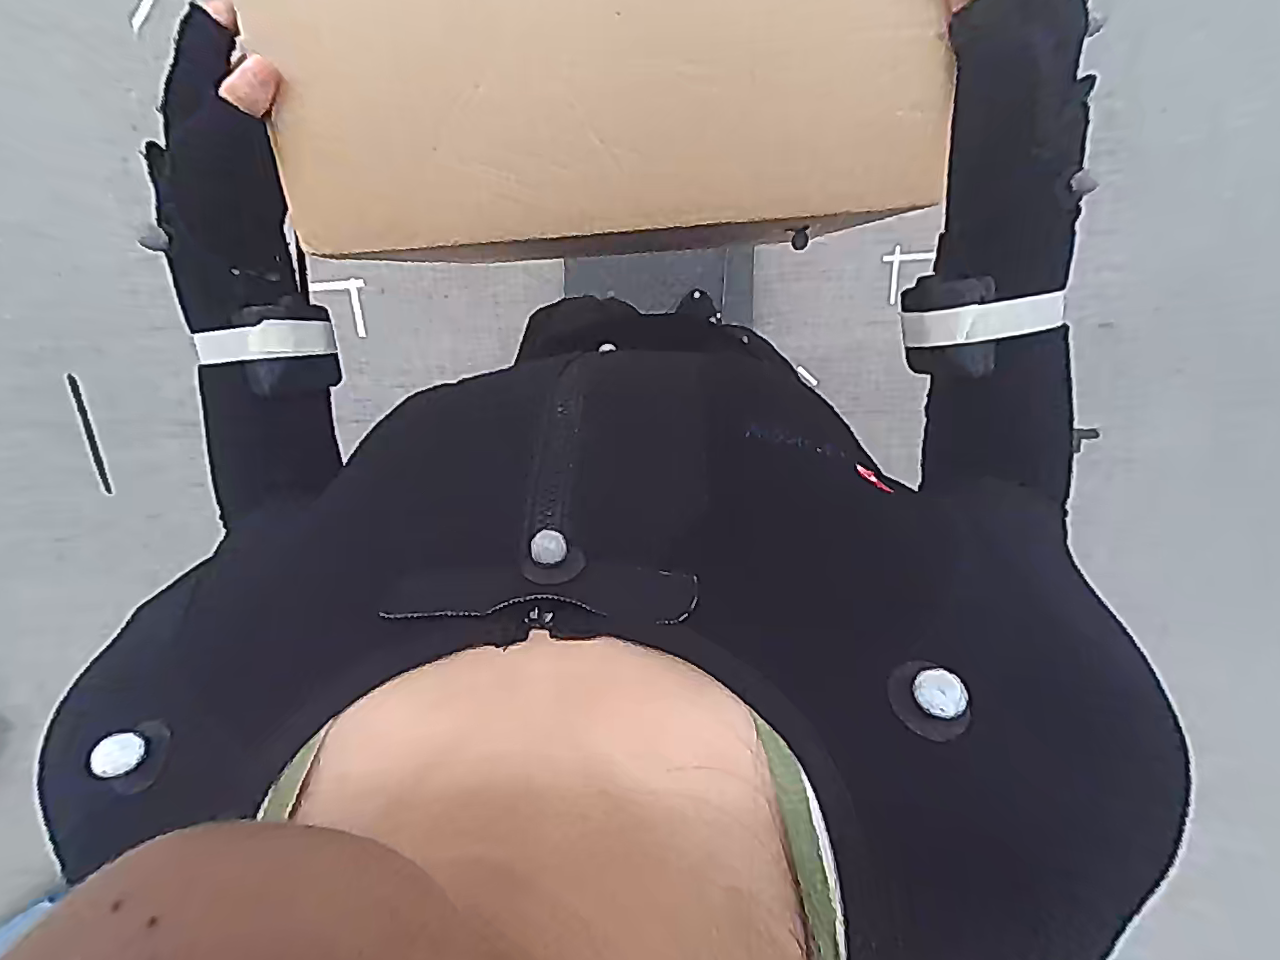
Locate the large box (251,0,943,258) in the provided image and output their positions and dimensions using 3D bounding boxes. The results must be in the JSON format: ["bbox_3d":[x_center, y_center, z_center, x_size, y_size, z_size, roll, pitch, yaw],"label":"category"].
[{"bbox_3d":[-0.023,-0.360,0.436,0.408,0.320,0.320,-3,110,3],"label":"large box"}]
